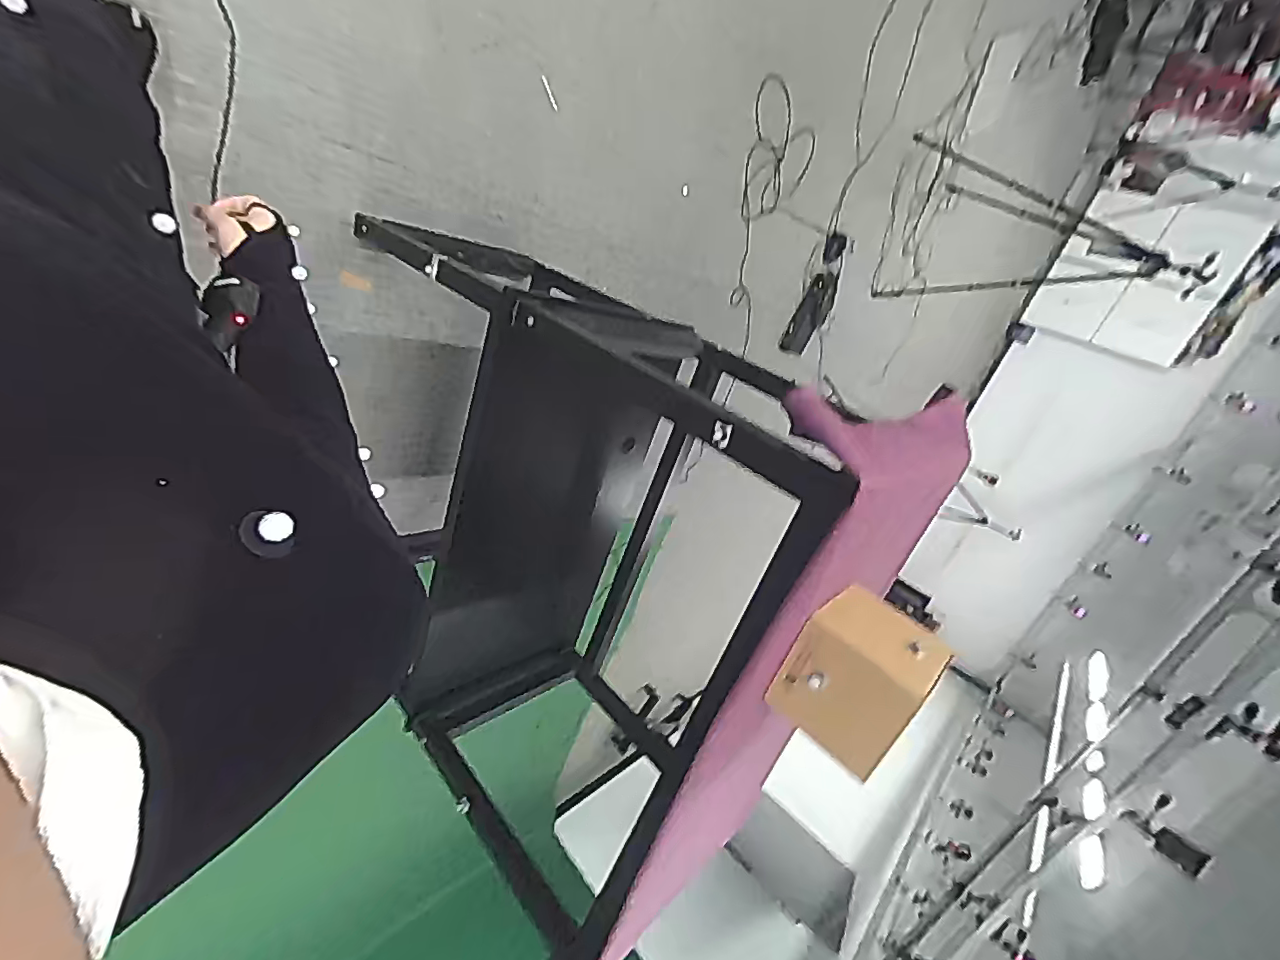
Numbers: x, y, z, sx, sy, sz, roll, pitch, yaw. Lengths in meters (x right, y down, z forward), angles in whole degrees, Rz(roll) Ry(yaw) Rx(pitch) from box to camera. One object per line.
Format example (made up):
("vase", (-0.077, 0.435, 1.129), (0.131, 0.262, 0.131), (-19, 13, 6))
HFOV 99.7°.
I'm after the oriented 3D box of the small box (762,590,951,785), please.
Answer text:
("small box", (0.310, 0.284, 0.786), (0.179, 0.176, 0.168), (-9, 127, -49))
